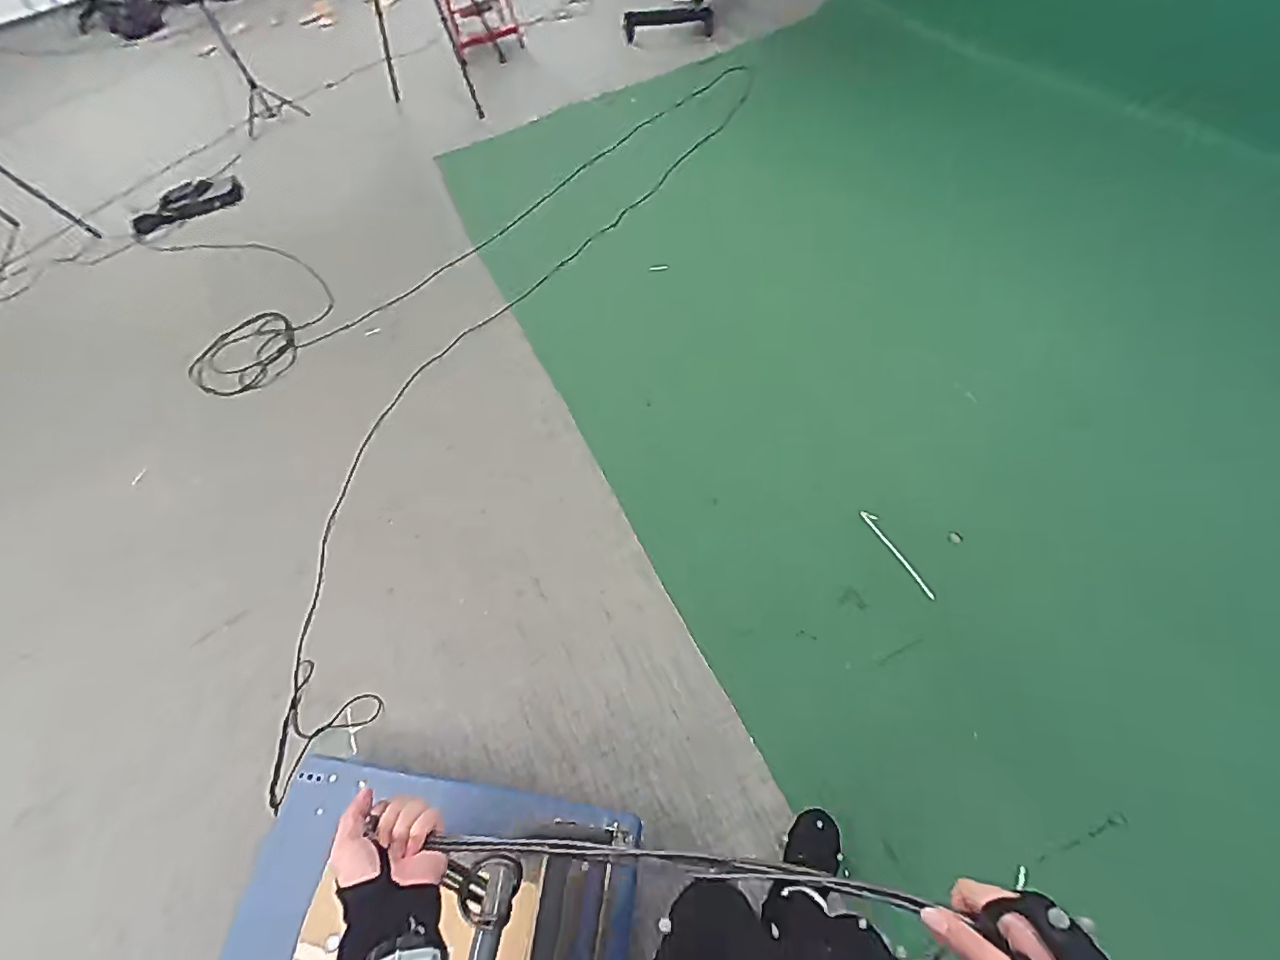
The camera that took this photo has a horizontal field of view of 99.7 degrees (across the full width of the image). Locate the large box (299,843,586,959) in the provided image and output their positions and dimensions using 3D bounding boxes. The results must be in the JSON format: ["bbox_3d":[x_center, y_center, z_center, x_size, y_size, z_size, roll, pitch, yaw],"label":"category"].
[{"bbox_3d":[-0.346,0.879,0.981,0.408,0.320,0.320,3,57,13],"label":"large box"}]
